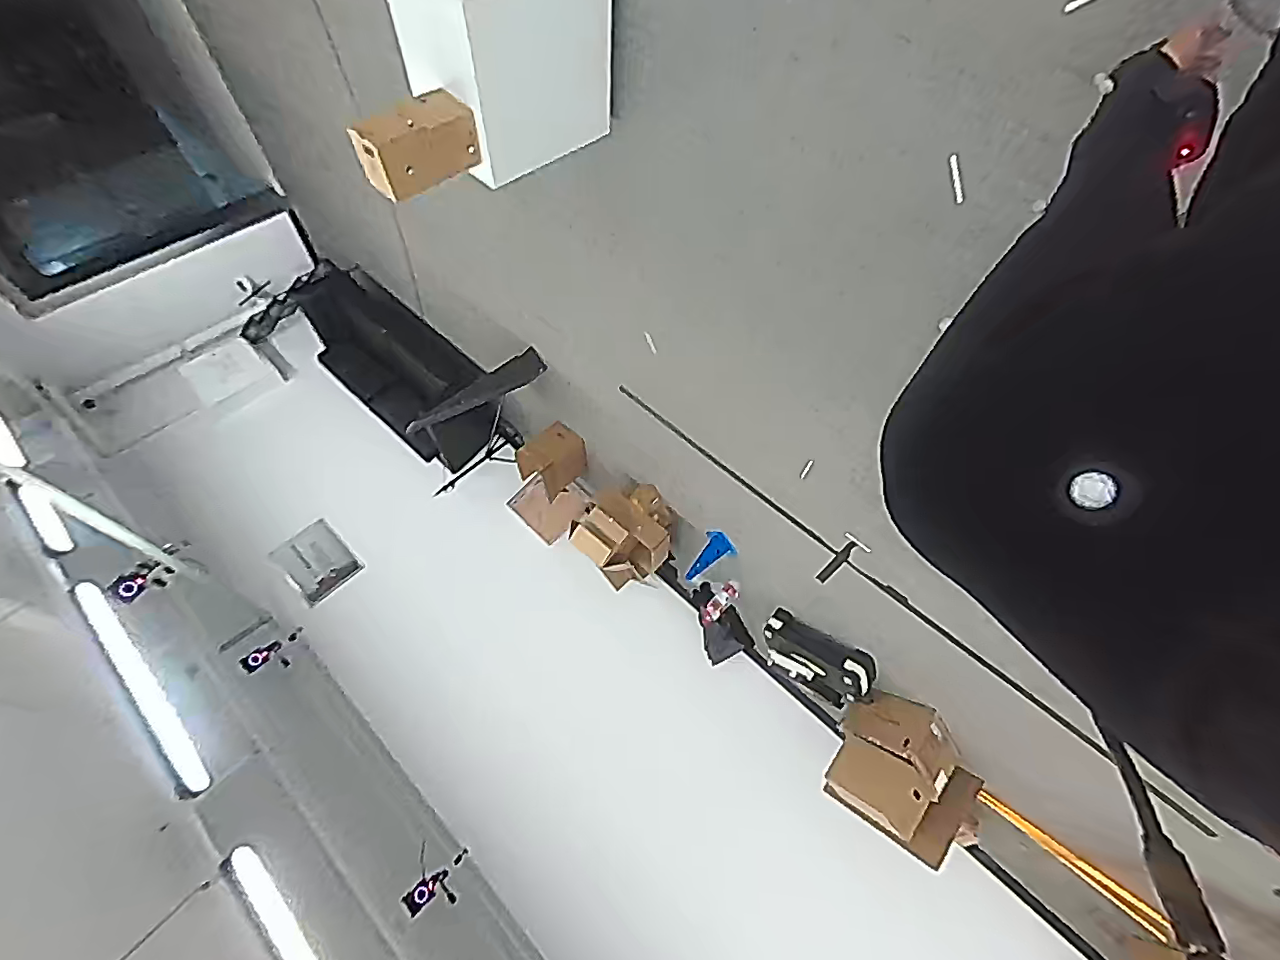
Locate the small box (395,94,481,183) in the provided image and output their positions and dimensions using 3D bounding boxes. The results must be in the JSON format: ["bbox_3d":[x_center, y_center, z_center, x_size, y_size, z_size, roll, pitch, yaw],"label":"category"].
[{"bbox_3d":[-0.634,-1.087,1.715,0.179,0.176,0.168,42,156,17],"label":"small box"}]

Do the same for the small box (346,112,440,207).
[{"bbox_3d":[-0.747,-0.985,1.654,0.168,0.176,0.179,41,157,21],"label":"small box"}]
